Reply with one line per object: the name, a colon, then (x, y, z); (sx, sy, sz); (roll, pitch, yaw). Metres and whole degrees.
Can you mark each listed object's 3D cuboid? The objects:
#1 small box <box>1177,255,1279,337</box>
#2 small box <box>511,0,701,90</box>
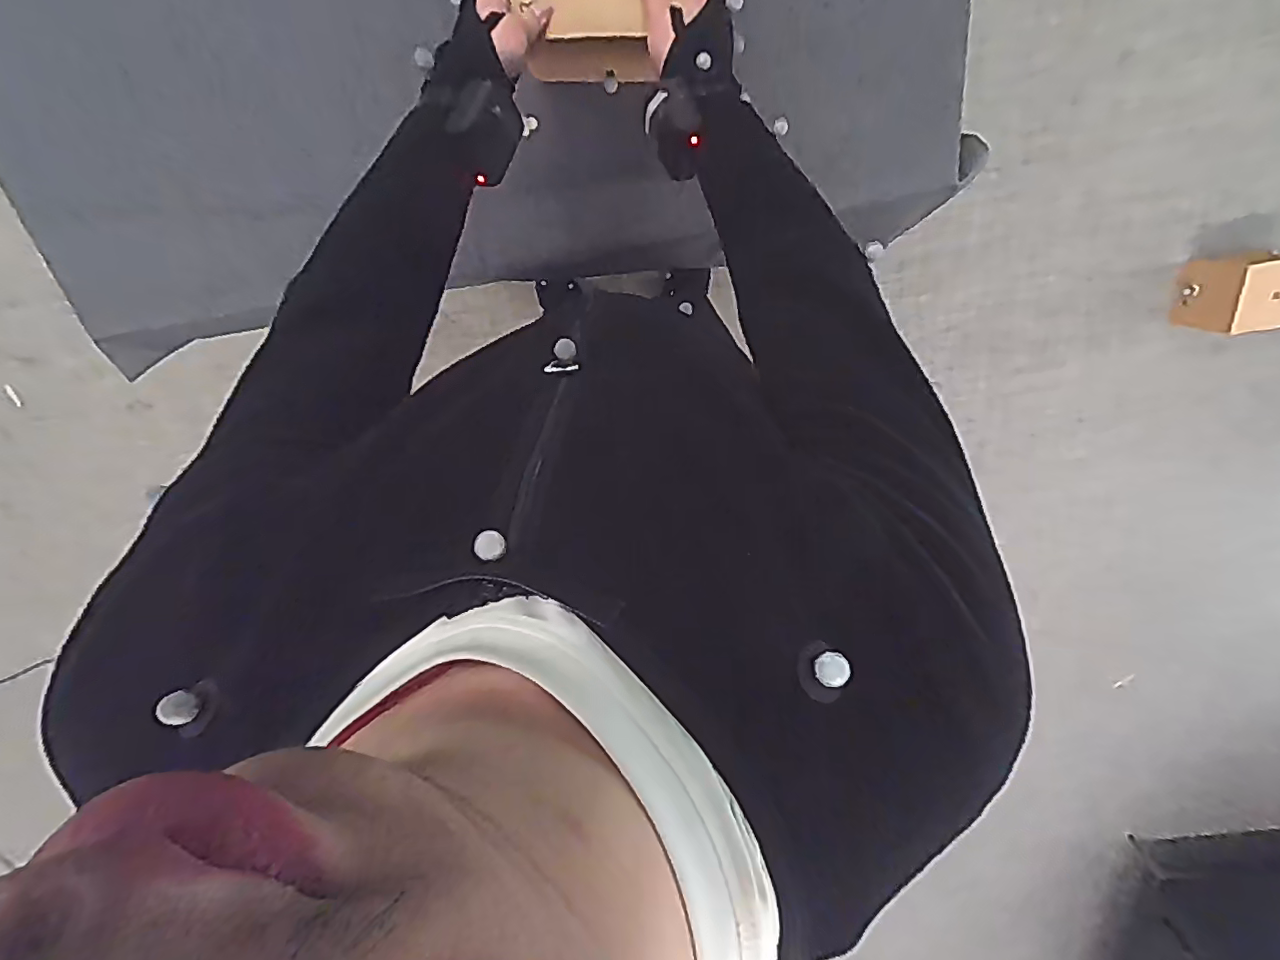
small box: (1.511, -0.459, 1.338); (0.179, 0.176, 0.168); (-6, 113, 3)
small box: (-0.032, -0.510, 0.543); (0.179, 0.176, 0.168); (0, 115, 0)
